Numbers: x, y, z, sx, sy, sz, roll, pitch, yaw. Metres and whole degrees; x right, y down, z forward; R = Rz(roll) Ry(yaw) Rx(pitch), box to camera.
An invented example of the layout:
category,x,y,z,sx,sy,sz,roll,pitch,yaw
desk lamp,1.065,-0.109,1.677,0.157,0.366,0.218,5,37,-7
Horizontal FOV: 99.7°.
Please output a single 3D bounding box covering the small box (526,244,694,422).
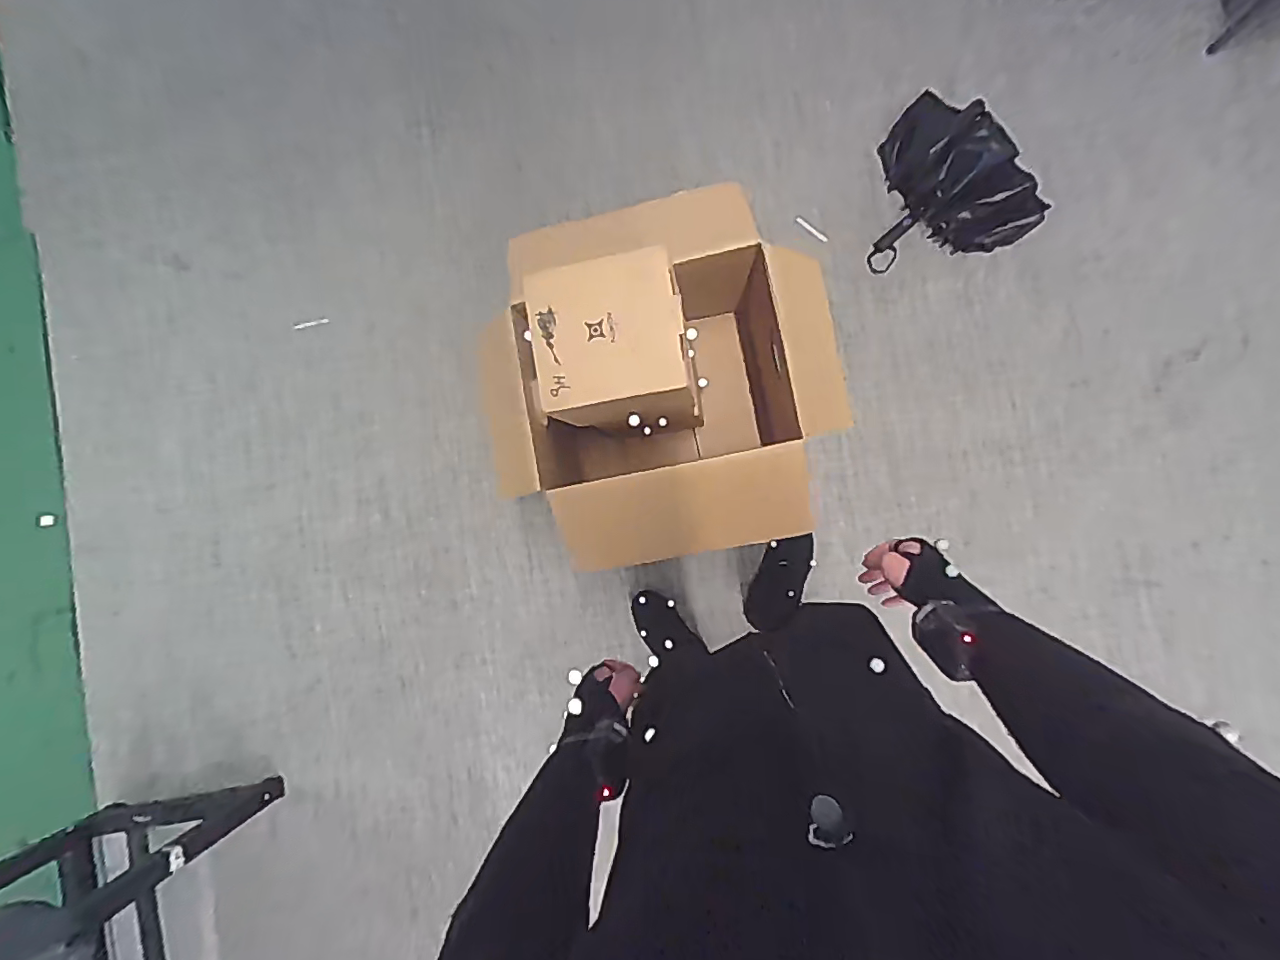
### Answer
category,x,y,z,sx,sy,sz,roll,pitch,yaw
small box,-0.027,-0.174,0.695,0.179,0.176,0.168,-9,89,8
